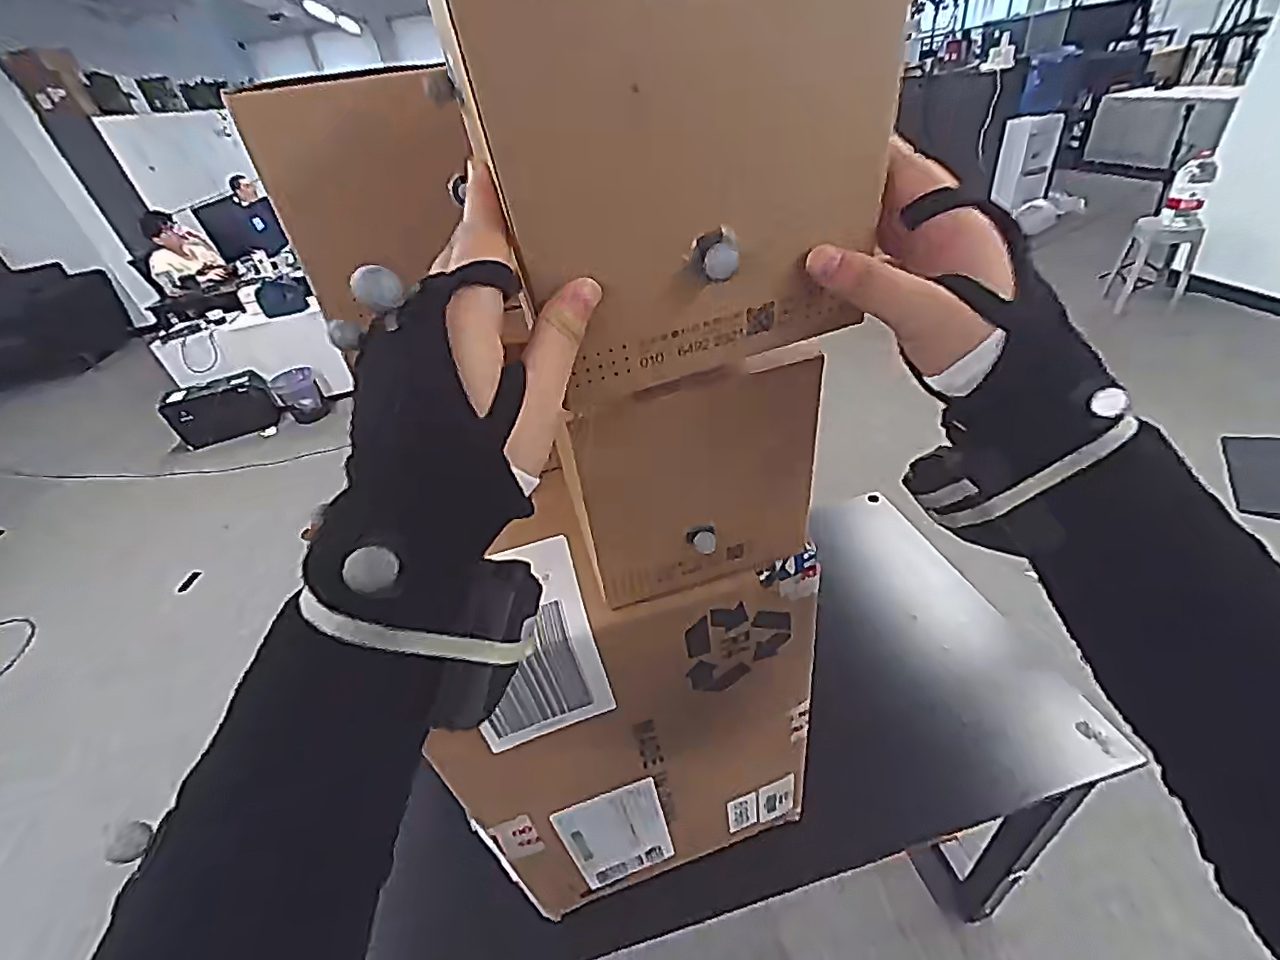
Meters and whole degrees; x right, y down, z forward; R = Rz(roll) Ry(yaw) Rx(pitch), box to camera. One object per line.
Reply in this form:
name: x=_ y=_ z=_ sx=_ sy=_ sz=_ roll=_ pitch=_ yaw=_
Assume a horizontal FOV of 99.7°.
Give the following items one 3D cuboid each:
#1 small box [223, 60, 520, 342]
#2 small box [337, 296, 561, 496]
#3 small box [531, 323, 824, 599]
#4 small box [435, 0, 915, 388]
small box: x=-0.193 y=-0.236 z=0.460 sx=0.179 sy=0.176 sz=0.168 roll=-18 pitch=35 yaw=-11
small box: x=-0.173 y=-0.106 z=0.557 sx=0.179 sy=0.176 sz=0.168 roll=-16 pitch=36 yaw=-9
small box: x=0.020 y=-0.039 z=0.428 sx=0.168 sy=0.176 sz=0.179 roll=-16 pitch=39 yaw=-9
small box: x=0.002 y=-0.173 z=0.271 sx=0.168 sy=0.176 sz=0.179 roll=-18 pitch=44 yaw=-7
